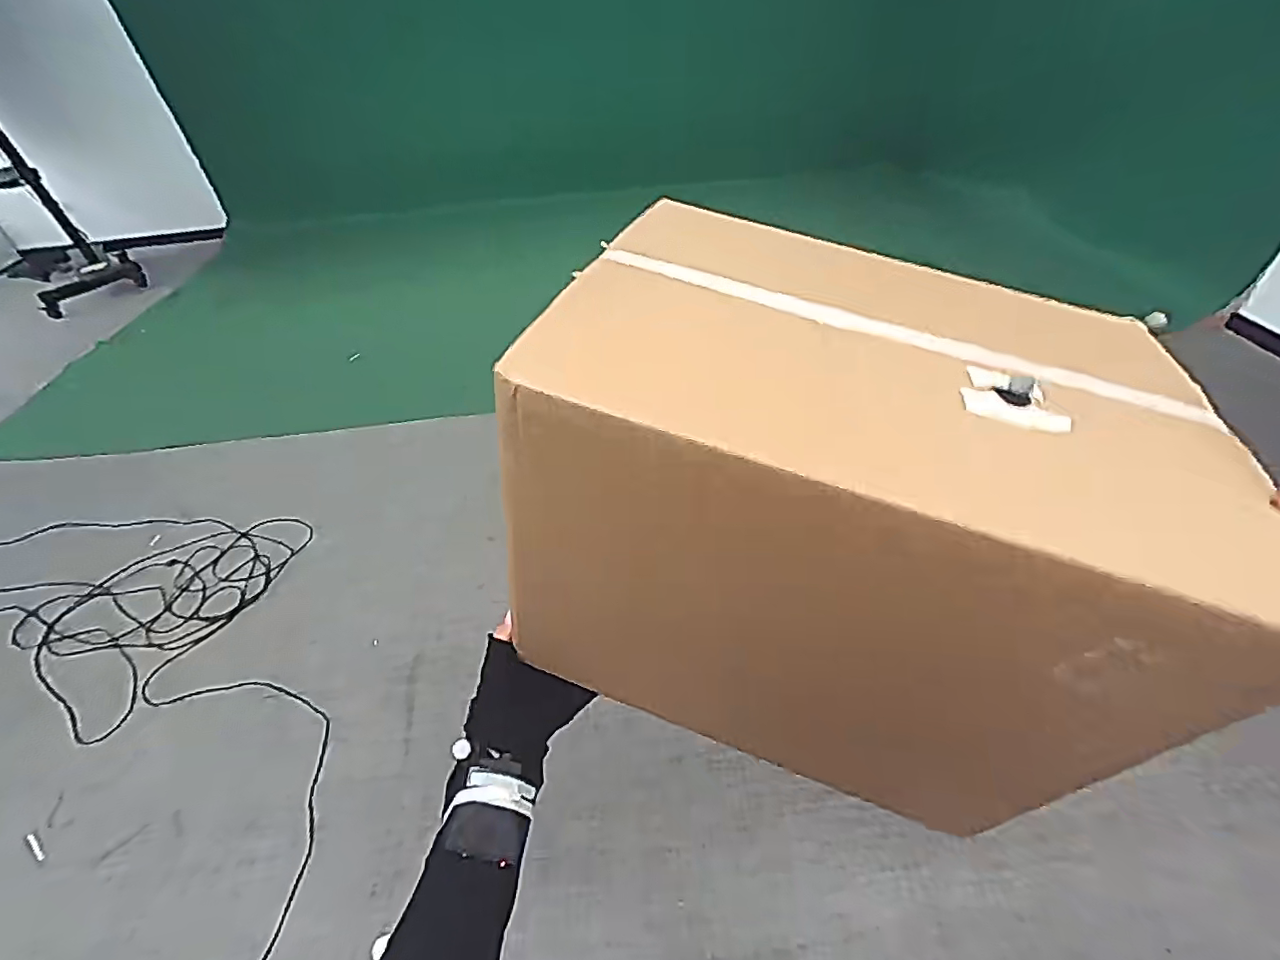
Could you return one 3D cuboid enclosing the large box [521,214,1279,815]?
[{"bbox_3d":[0.143,0.017,0.468,0.408,0.320,0.320,19,45,8],"label":"large box"}]
